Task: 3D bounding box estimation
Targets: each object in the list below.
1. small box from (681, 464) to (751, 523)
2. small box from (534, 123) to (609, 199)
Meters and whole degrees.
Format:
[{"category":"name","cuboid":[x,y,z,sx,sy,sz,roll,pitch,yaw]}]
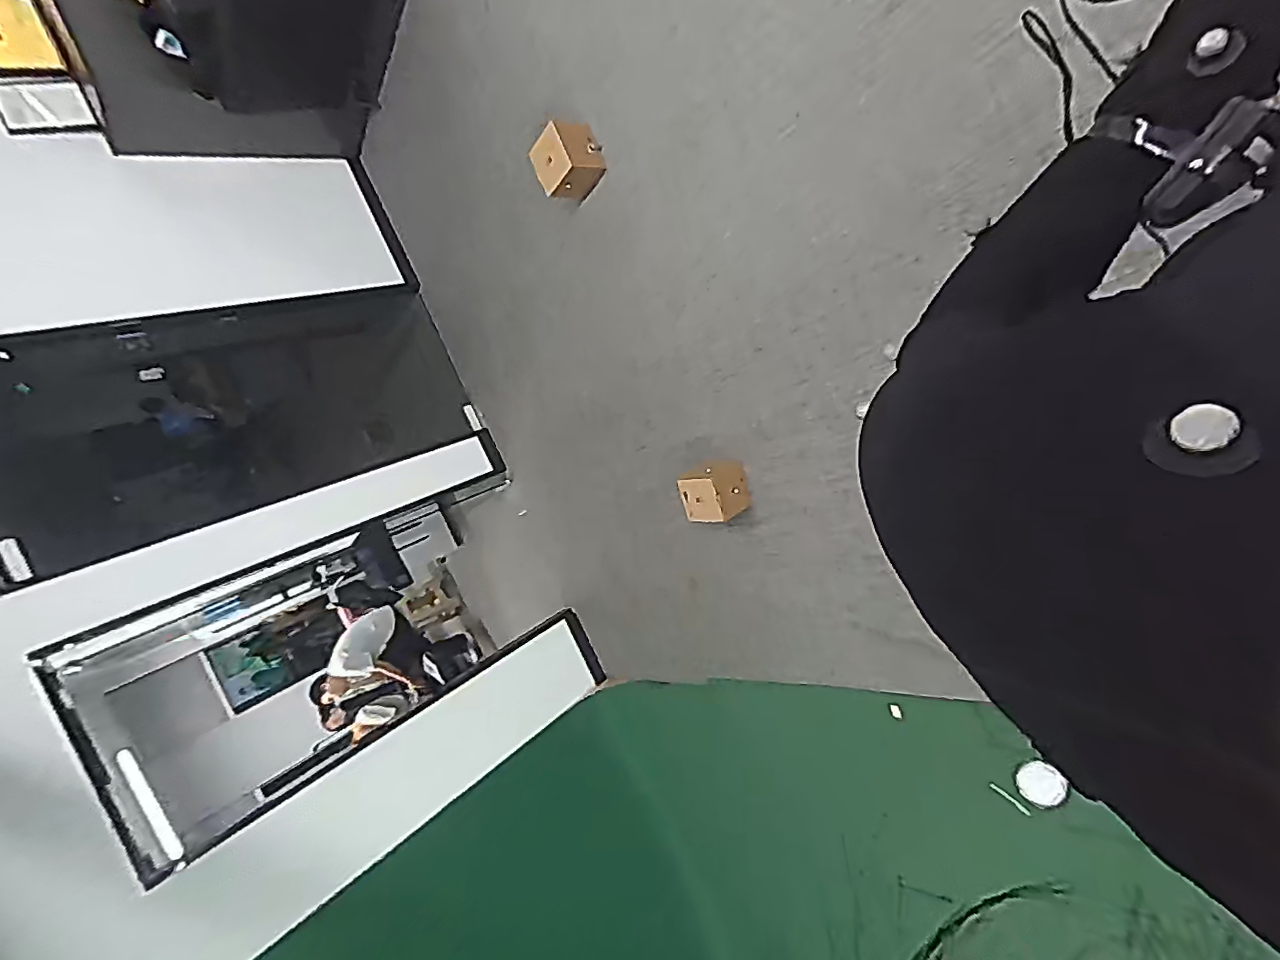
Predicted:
[{"category":"small box","cuboid":[0.285,0.046,1.969,0.179,0.176,0.168,-3,108,49]},{"category":"small box","cuboid":[-0.241,-1.123,1.916,0.179,0.176,0.168,-21,95,50]}]
